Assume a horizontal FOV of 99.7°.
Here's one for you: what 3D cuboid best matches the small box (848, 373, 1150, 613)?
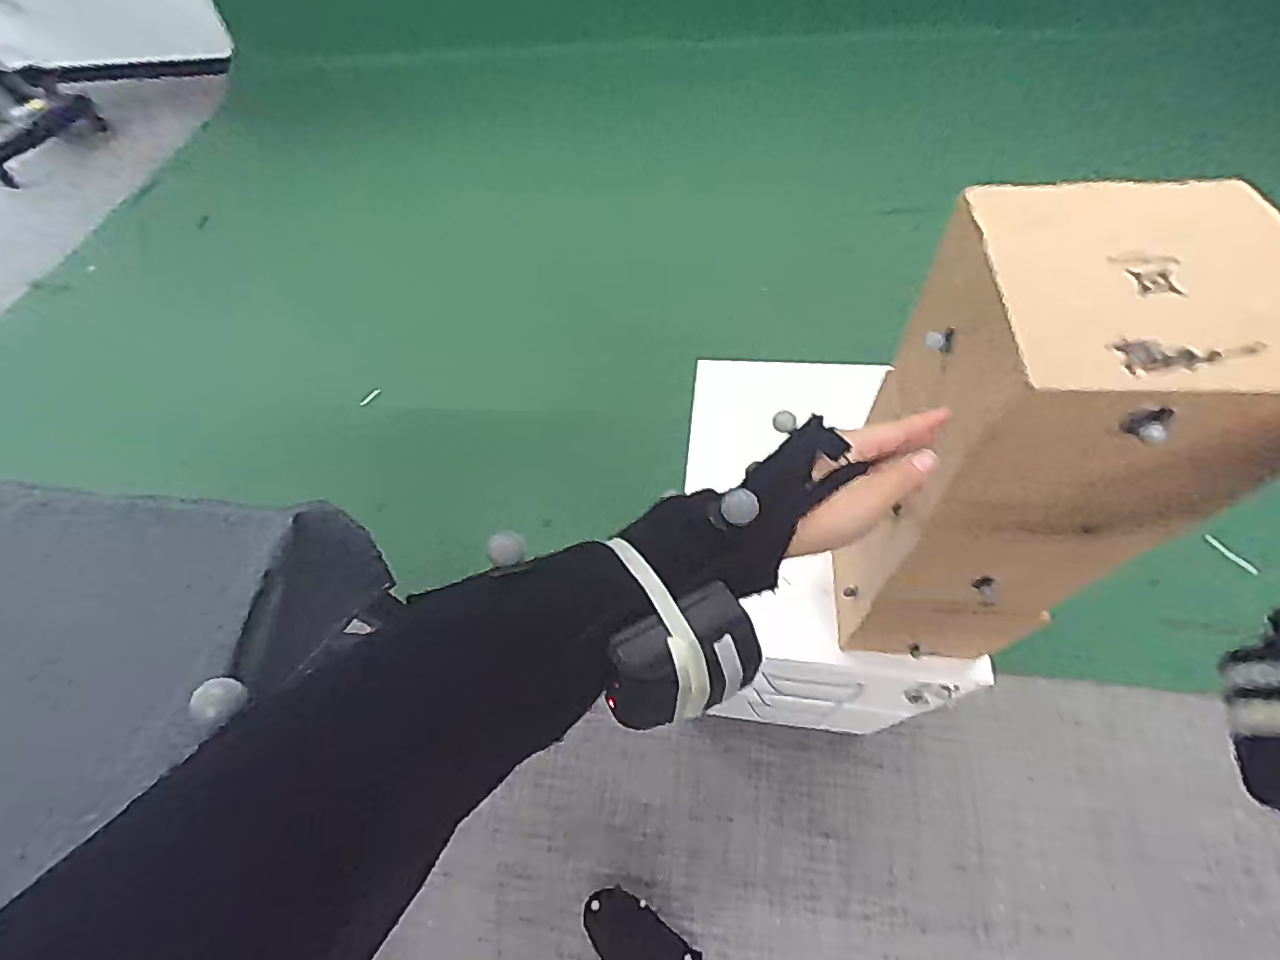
[{"bbox_3d":[0.308,0.018,0.513,0.168,0.176,0.179,1,59,6],"label":"small box"}]

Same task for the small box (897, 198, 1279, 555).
[{"bbox_3d":[0.295,-0.067,0.375,0.168,0.176,0.179,3,58,8],"label":"small box"}]
